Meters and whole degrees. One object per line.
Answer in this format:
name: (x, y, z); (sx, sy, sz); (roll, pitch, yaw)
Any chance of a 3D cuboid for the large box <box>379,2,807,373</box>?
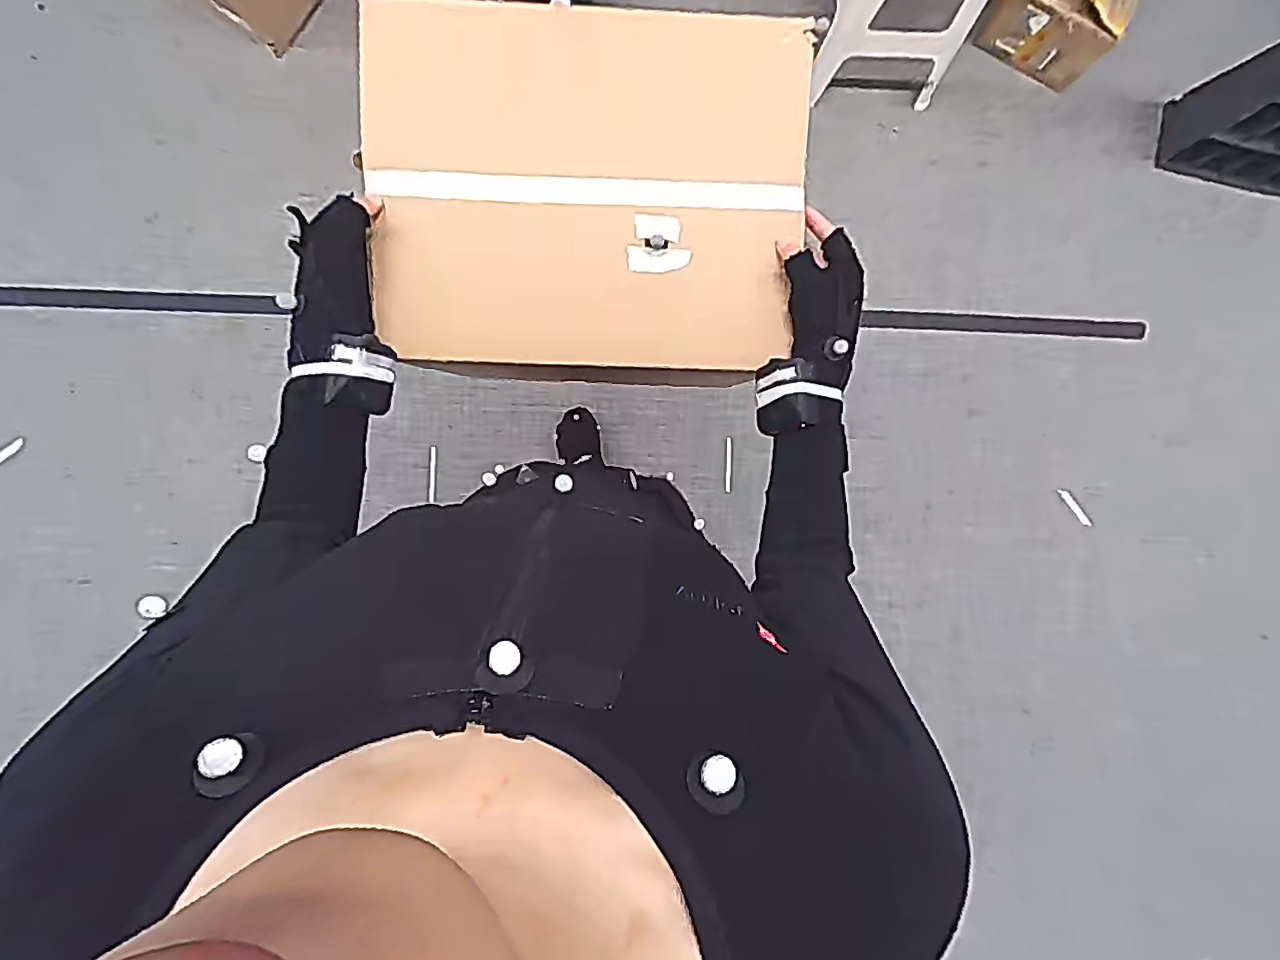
large box: (-0.050, -0.300, 0.666); (0.408, 0.320, 0.320); (1, 98, -2)
